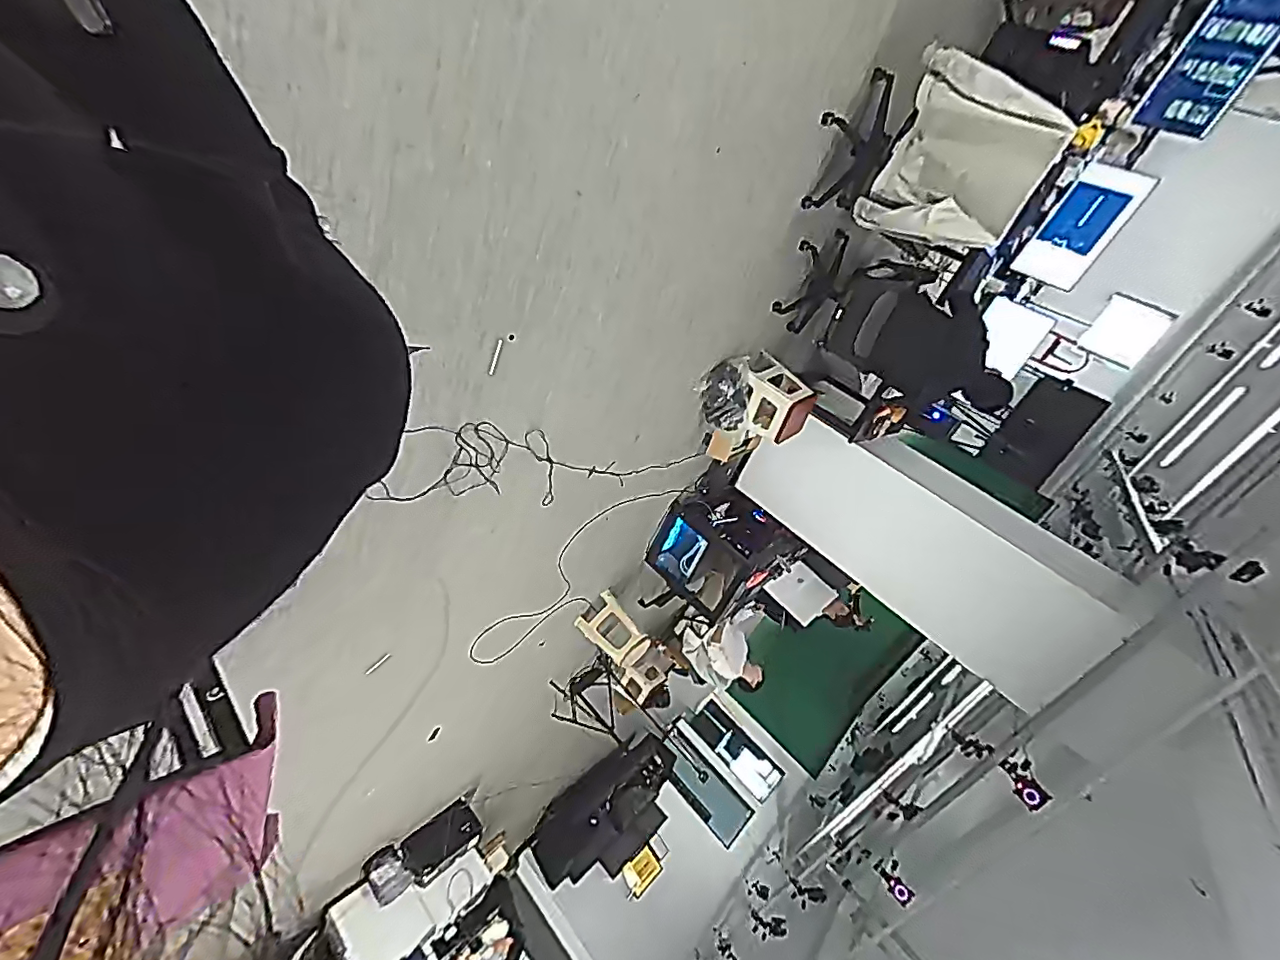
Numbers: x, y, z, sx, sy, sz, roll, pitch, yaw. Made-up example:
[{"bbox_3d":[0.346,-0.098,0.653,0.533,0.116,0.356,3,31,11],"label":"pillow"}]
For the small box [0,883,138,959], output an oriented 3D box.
[{"bbox_3d":[-1.076,0.913,1.016,0.168,0.176,0.179,-12,136,-51],"label":"small box"}]
